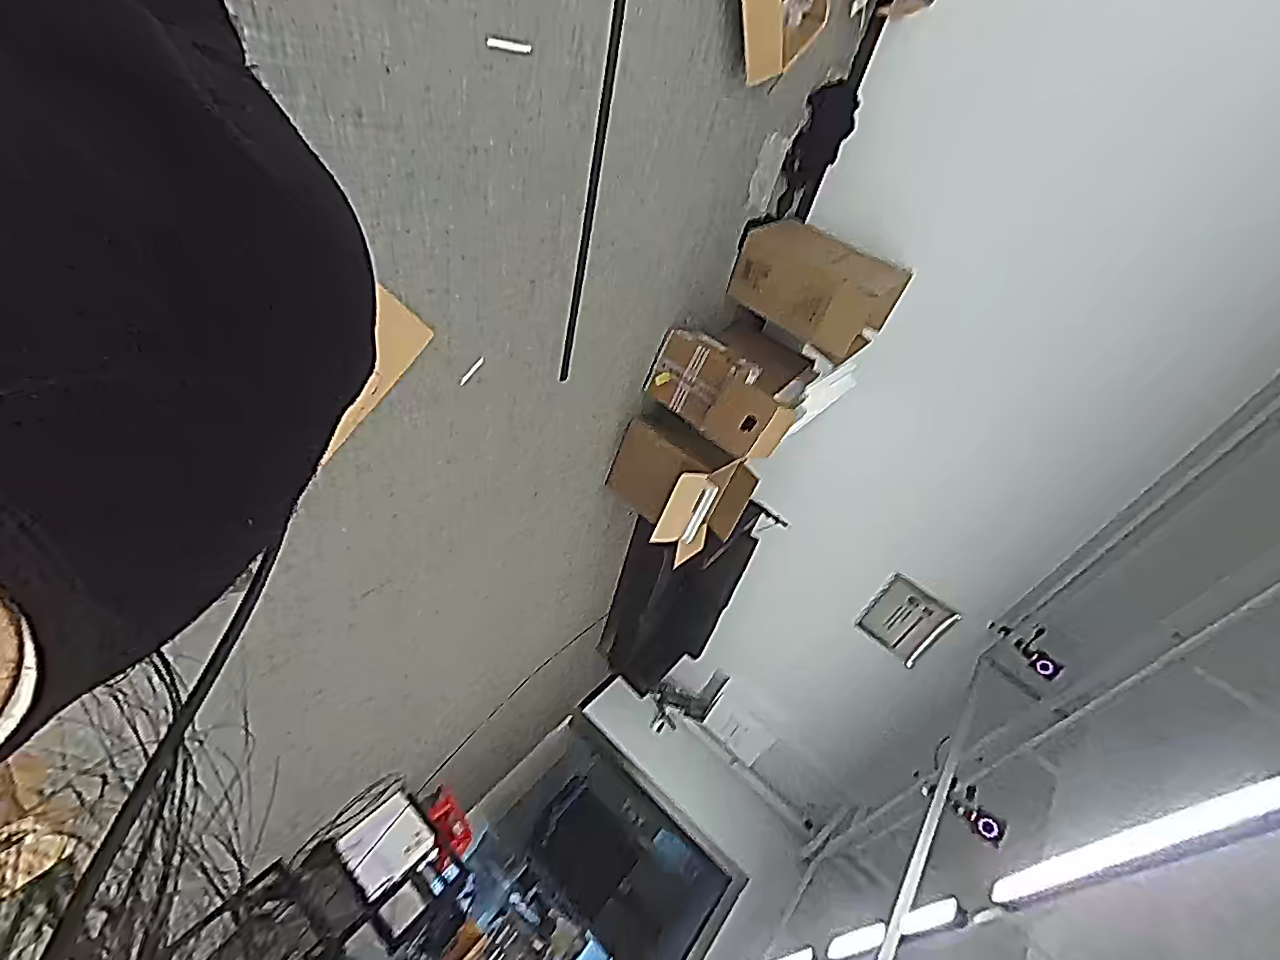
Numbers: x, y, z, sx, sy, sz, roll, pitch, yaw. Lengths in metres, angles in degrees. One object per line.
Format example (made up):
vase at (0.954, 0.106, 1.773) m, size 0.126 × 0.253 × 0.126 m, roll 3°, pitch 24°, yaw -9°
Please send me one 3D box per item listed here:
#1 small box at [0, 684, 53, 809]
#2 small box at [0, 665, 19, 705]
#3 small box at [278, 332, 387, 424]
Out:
small box at (-1.138, 0.455, 0.890) m, size 0.168 × 0.176 × 0.179 m, roll -30°, pitch 147°, yaw -43°
small box at (-1.257, 0.357, 0.946) m, size 0.168 × 0.176 × 0.179 m, roll -28°, pitch 147°, yaw -46°
small box at (-0.873, -0.291, 1.537) m, size 0.168 × 0.176 × 0.179 m, roll -54°, pitch 156°, yaw 2°
